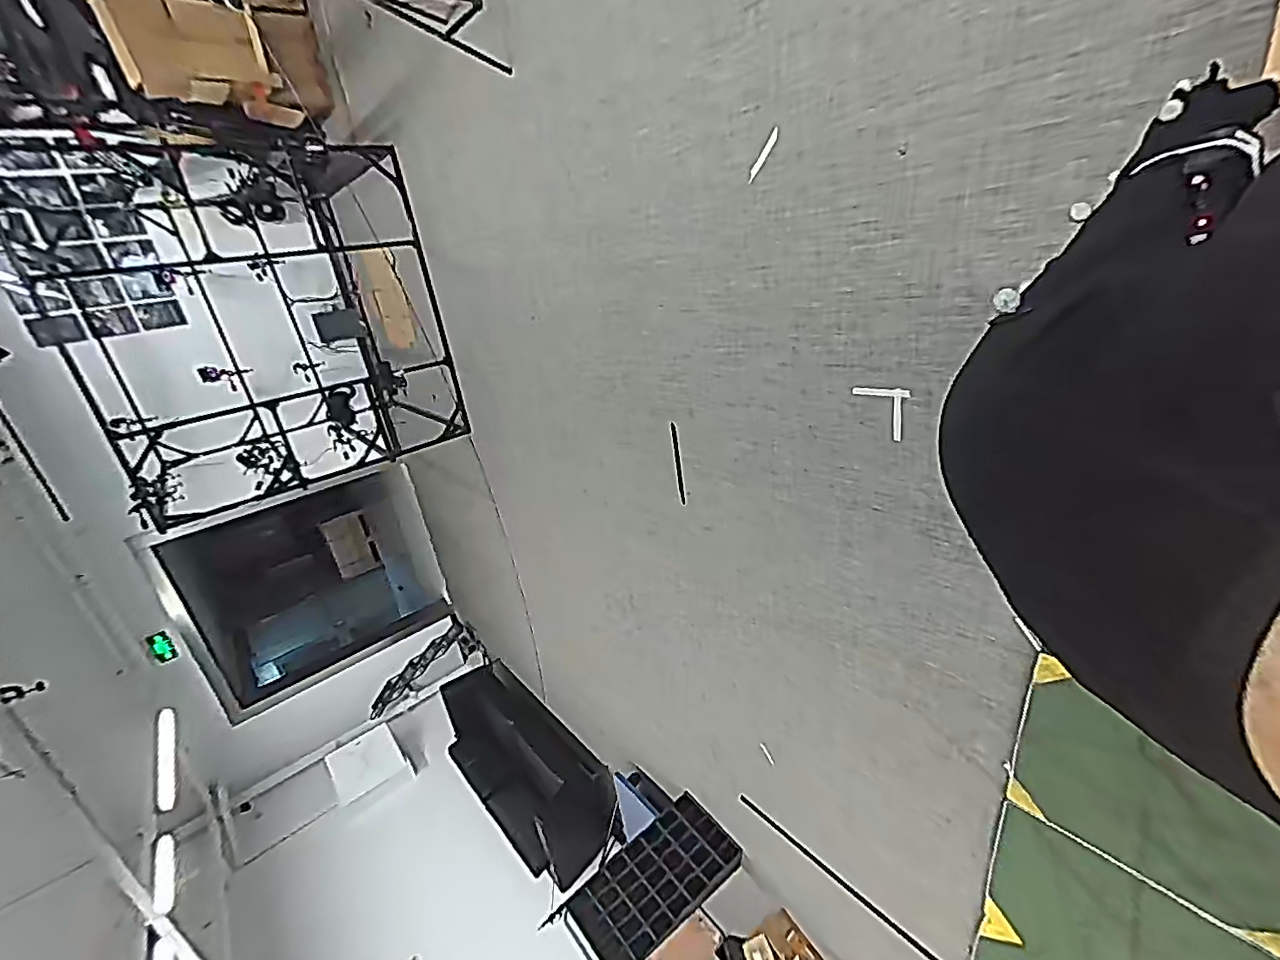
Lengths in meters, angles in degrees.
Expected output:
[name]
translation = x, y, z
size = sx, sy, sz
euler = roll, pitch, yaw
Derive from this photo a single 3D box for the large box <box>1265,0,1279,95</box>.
[large box]
translation = 1.049, -0.688, 0.609
size = 0.408, 0.320, 0.320
euler = 16, 123, 48
